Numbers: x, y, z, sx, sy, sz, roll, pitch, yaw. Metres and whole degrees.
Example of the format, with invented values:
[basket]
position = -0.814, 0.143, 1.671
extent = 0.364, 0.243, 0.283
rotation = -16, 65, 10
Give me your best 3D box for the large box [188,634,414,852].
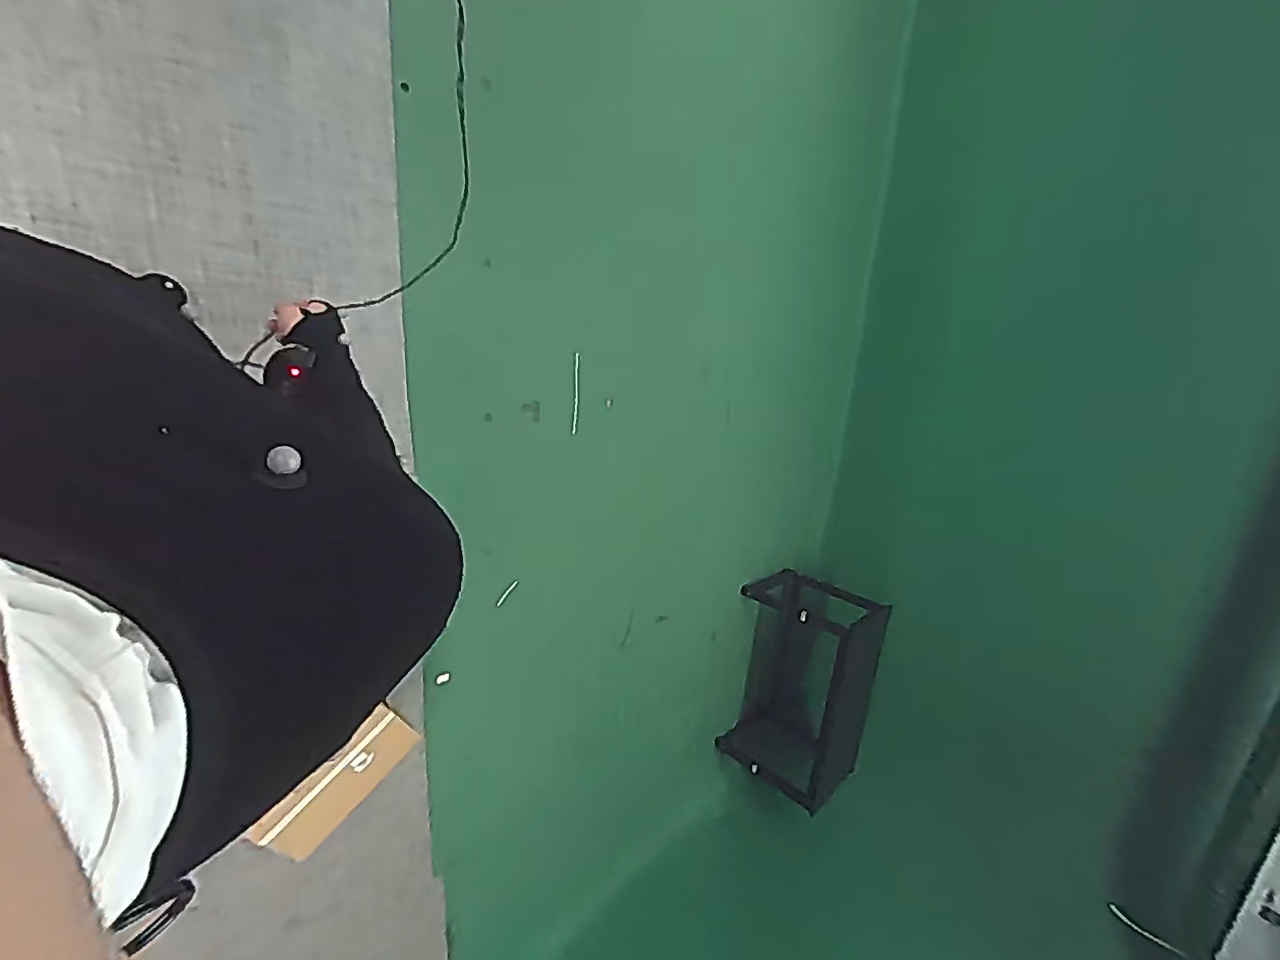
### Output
[large box]
position = -0.954, 0.731, 1.543
extent = 0.408, 0.320, 0.320
rotation = -47, 134, -27
